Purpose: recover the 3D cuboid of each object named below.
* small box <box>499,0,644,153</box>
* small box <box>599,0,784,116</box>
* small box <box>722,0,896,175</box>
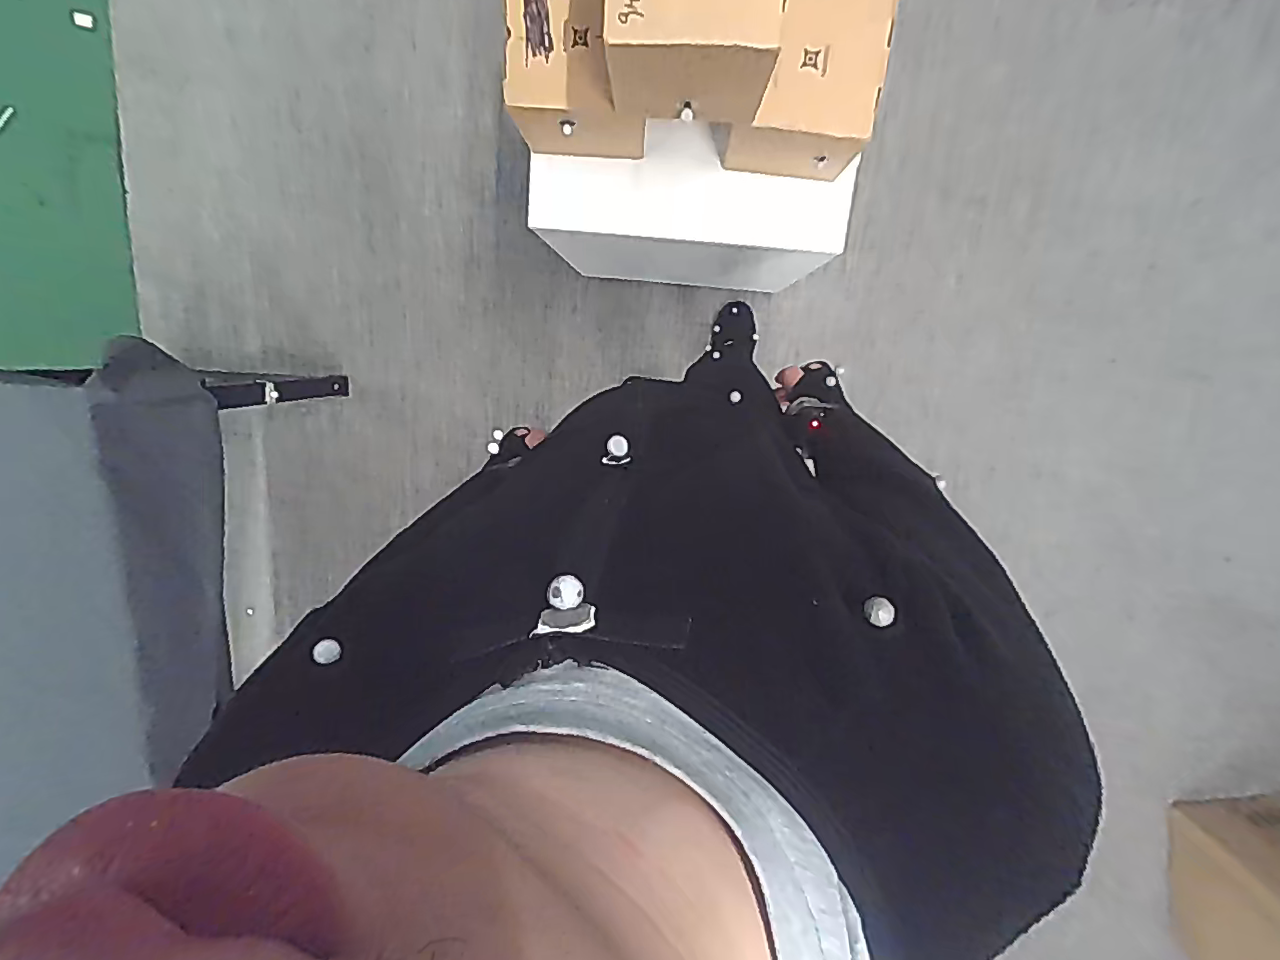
[{"bbox_3d":[-0.083,-0.567,0.738,0.179,0.176,0.168,4,104,1],"label":"small box"},{"bbox_3d":[0.053,-0.516,0.576,0.179,0.176,0.168,3,103,1],"label":"small box"},{"bbox_3d":[0.214,-0.532,0.731,0.179,0.176,0.168,7,102,4],"label":"small box"}]
